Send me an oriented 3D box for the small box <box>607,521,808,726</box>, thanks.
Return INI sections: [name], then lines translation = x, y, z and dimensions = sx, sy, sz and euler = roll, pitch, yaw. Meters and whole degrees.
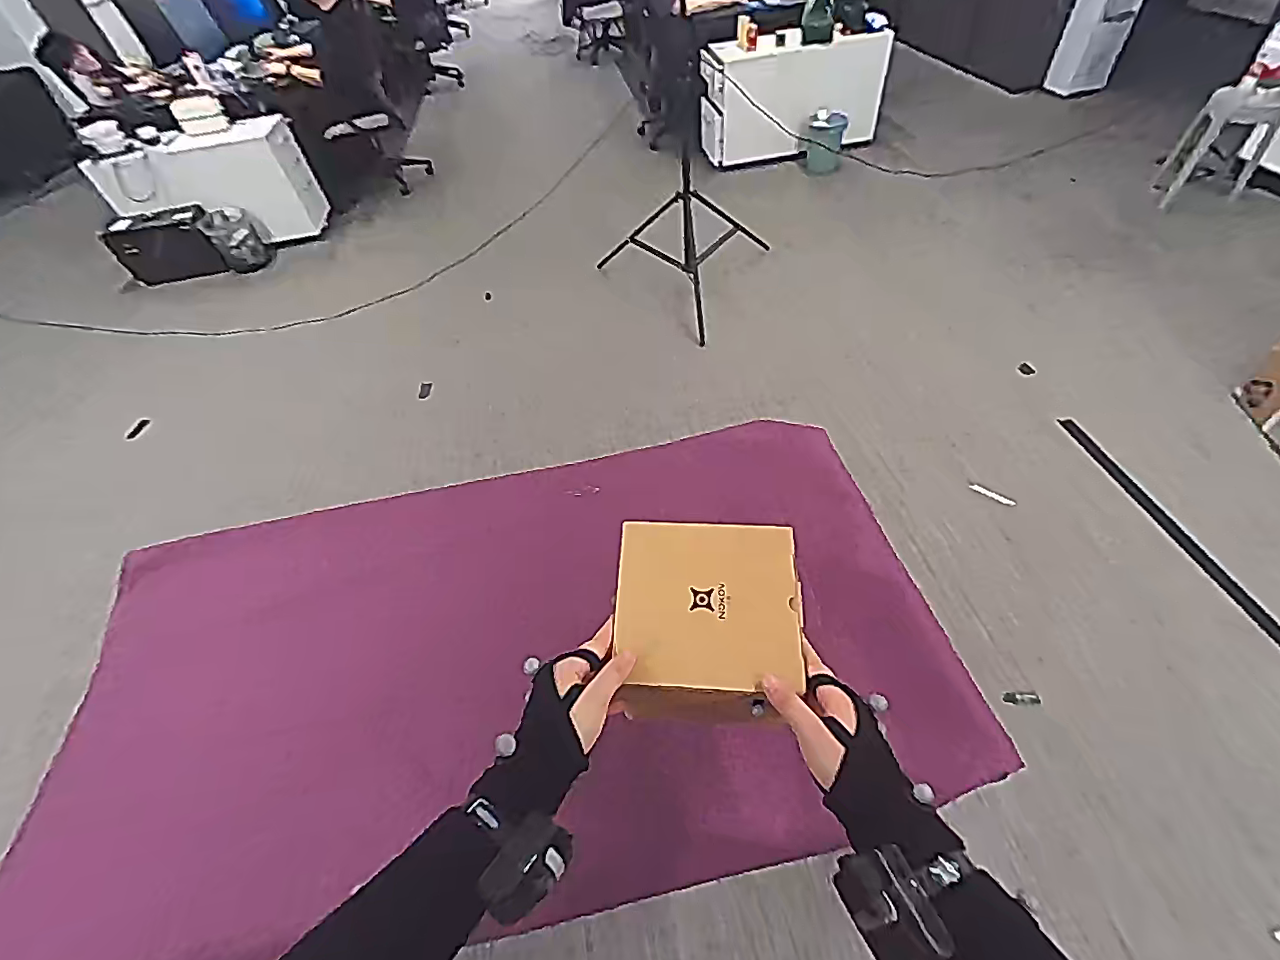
[small box]
translation = 0.067, 0.157, 0.572
dimensions = 0.179, 0.176, 0.168
euler = 1, 57, 4
